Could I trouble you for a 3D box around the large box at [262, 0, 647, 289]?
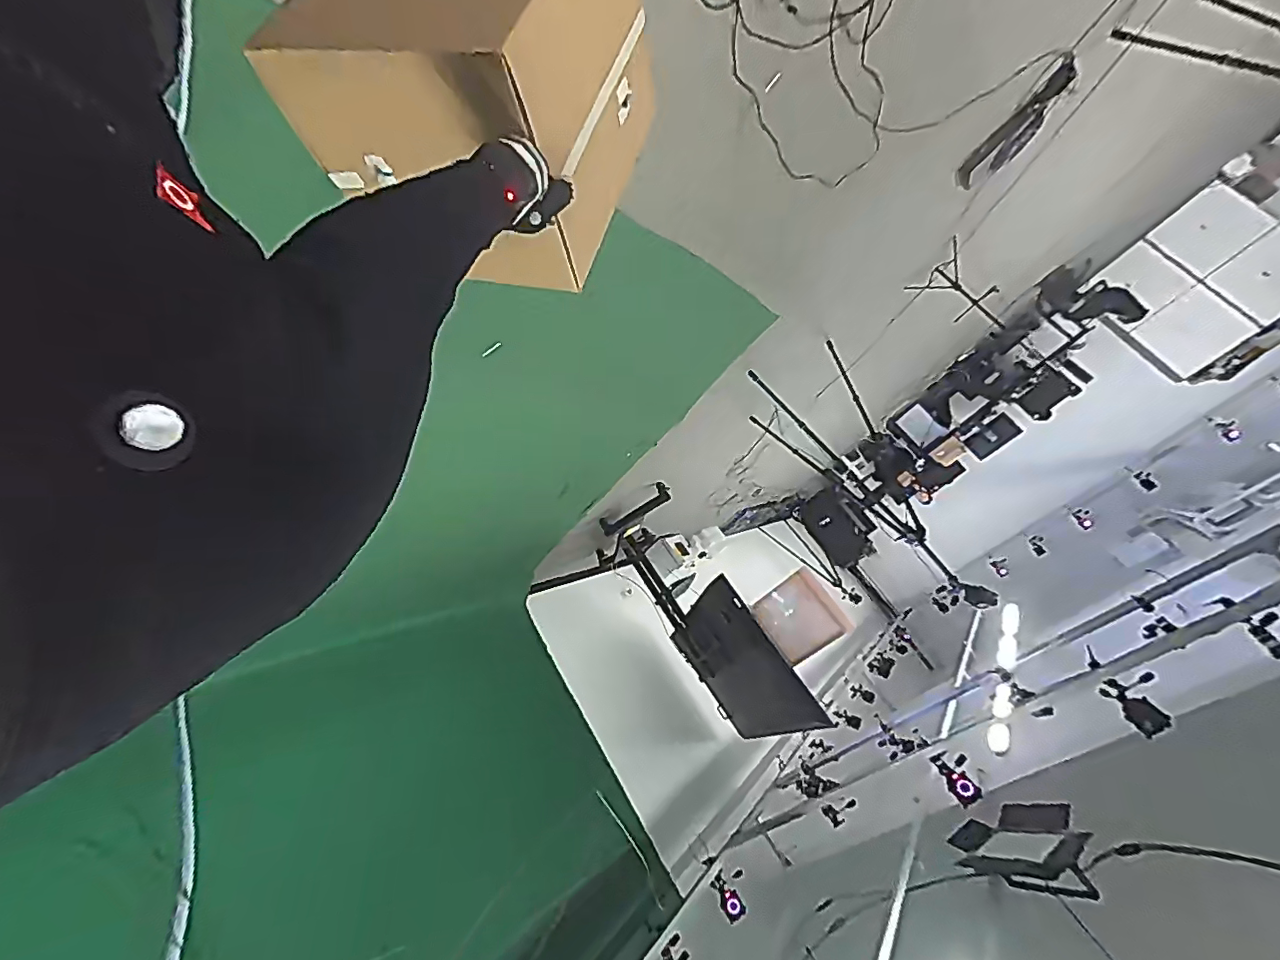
[{"bbox_3d":[-0.204,-0.538,0.754,0.320,0.320,0.408,73,30,-65],"label":"large box"}]
